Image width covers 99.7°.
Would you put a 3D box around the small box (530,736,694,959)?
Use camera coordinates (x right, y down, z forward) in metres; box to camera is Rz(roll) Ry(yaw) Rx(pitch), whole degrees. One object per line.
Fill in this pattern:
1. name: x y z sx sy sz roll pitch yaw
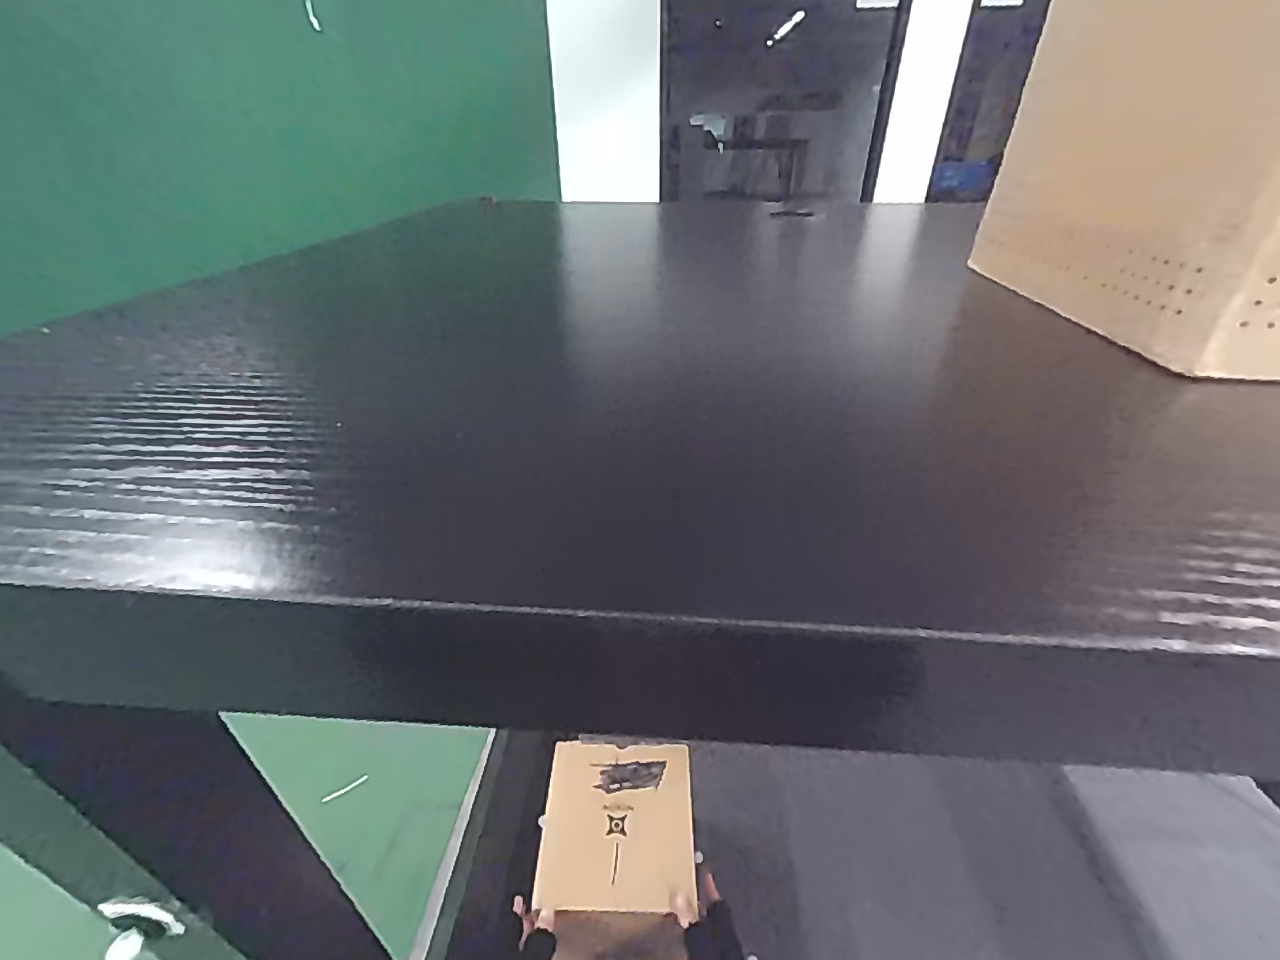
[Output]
1. small box: -0.026 0.434 0.641 0.168 0.176 0.179 0 33 2
